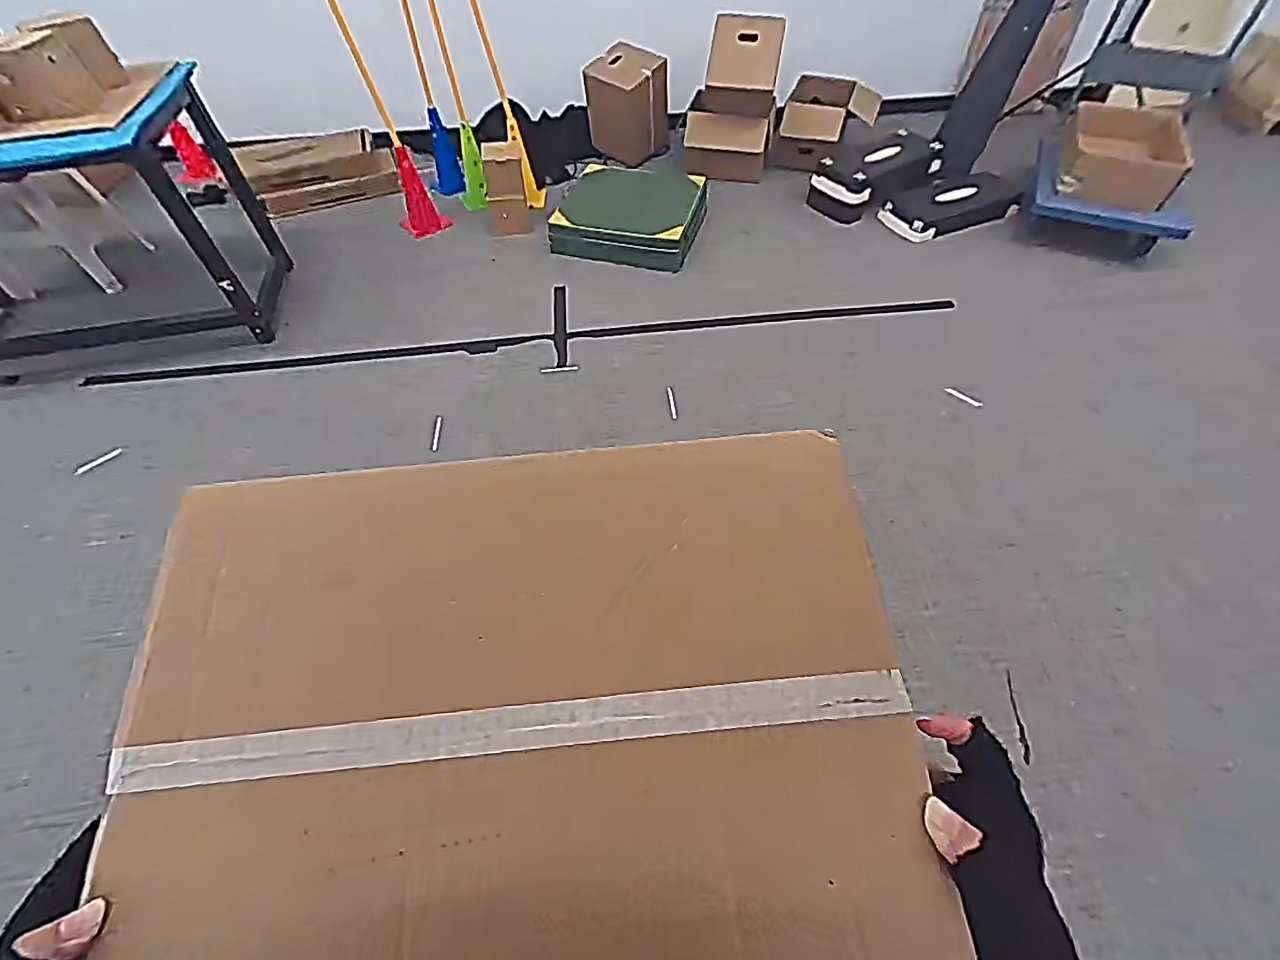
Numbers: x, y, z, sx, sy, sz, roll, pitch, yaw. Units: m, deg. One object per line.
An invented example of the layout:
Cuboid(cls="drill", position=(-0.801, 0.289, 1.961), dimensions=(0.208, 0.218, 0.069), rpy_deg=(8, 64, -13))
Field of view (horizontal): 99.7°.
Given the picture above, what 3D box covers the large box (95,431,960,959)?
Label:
Cuboid(cls="large box", position=(-0.062, 0.186, 0.427), dimensions=(0.408, 0.320, 0.320), rpy_deg=(-5, 68, -1))
